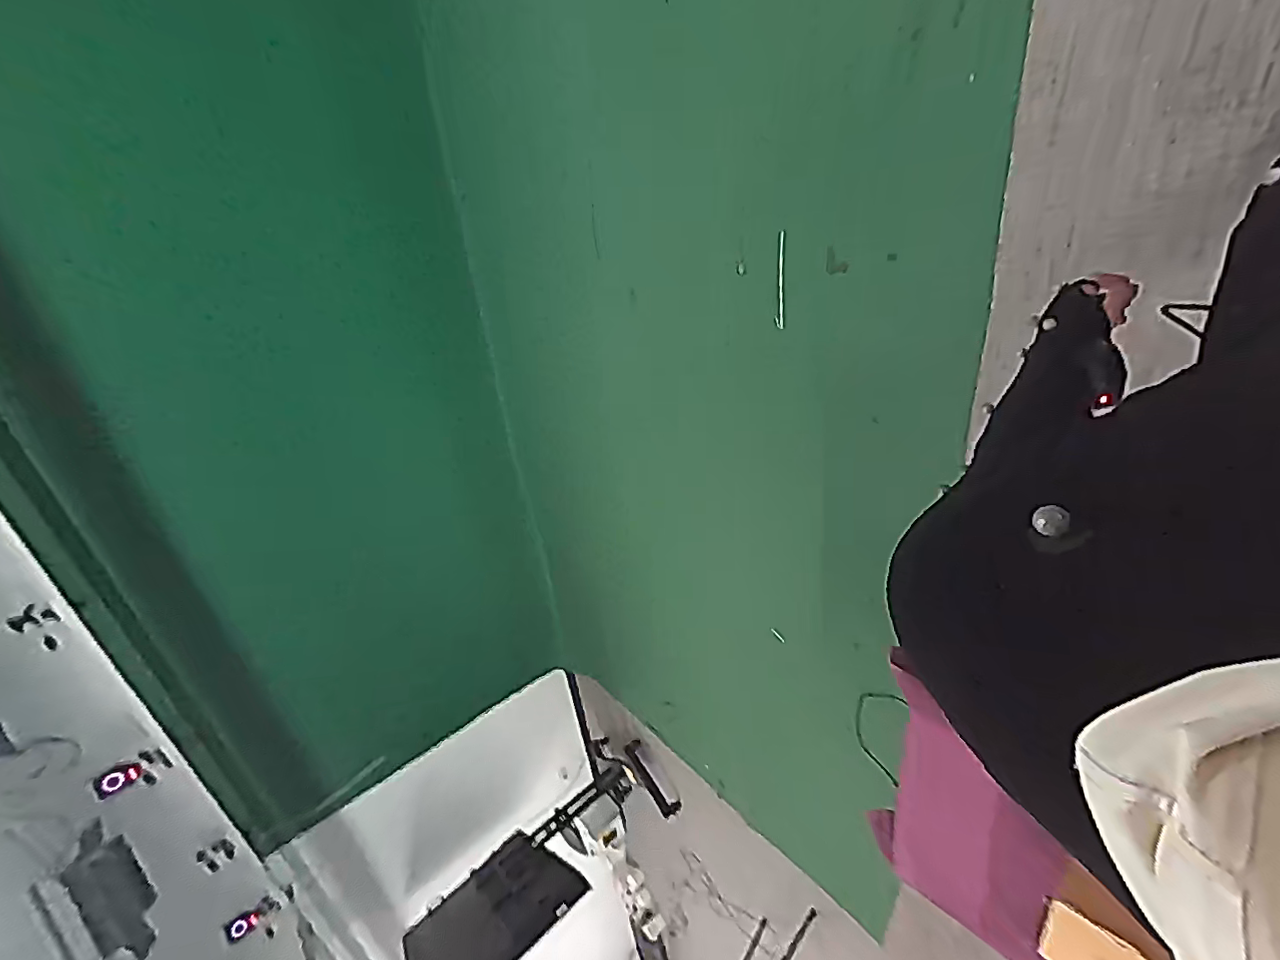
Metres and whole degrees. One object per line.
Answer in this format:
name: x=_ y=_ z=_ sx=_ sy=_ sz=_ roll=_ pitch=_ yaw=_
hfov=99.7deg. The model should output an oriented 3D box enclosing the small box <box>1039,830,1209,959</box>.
small box: x=0.798 y=0.742 z=0.895 sx=0.168 sy=0.176 sz=0.179 roll=20 pitch=127 yaw=47
